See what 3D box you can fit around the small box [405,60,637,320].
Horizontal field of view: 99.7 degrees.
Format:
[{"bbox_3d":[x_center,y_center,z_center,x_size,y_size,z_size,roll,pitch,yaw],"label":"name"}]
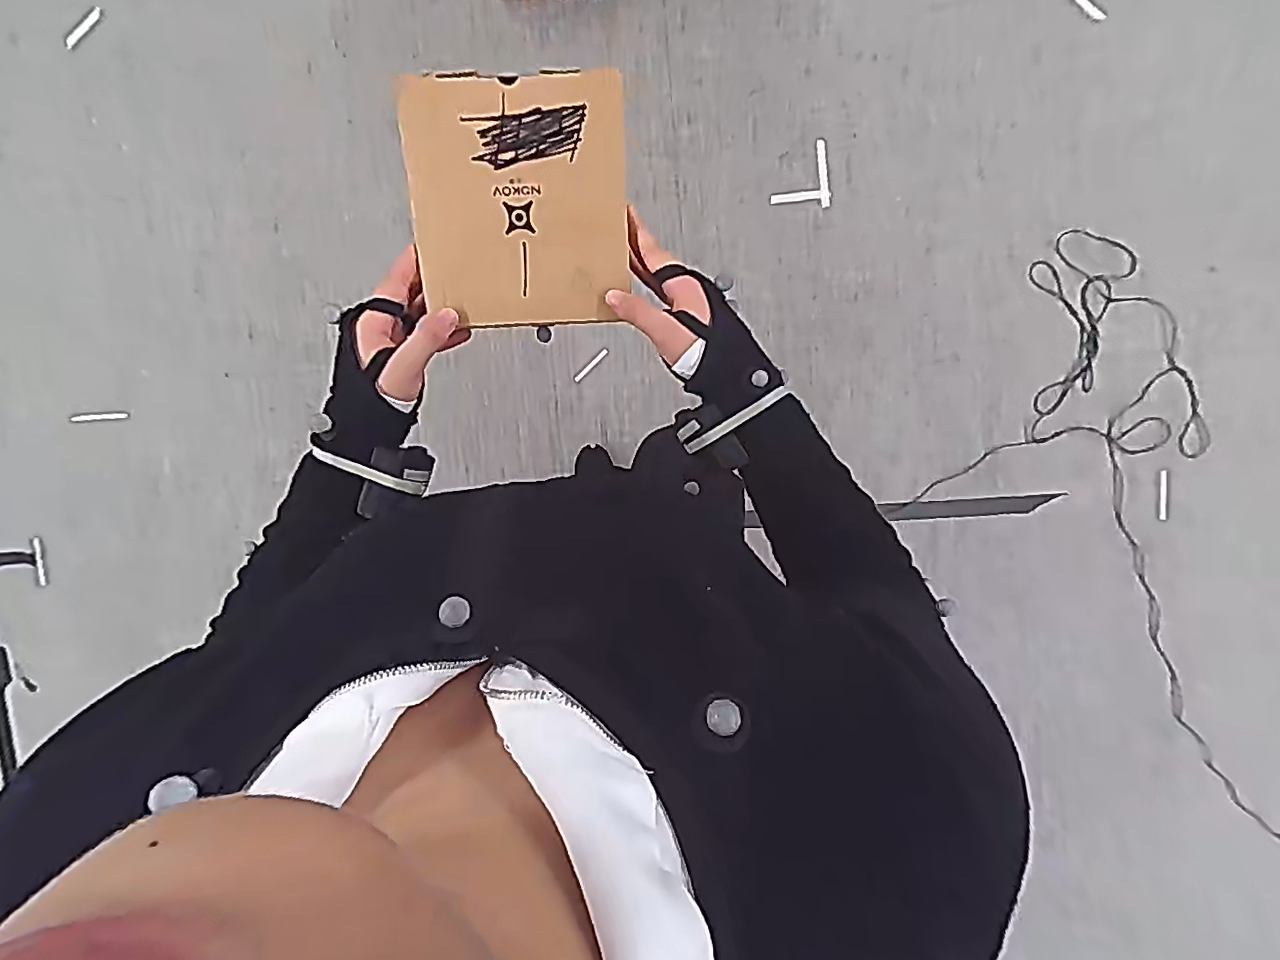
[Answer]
[{"bbox_3d":[-0.090,-0.240,0.492,0.168,0.176,0.179,-3,106,-1],"label":"small box"}]
